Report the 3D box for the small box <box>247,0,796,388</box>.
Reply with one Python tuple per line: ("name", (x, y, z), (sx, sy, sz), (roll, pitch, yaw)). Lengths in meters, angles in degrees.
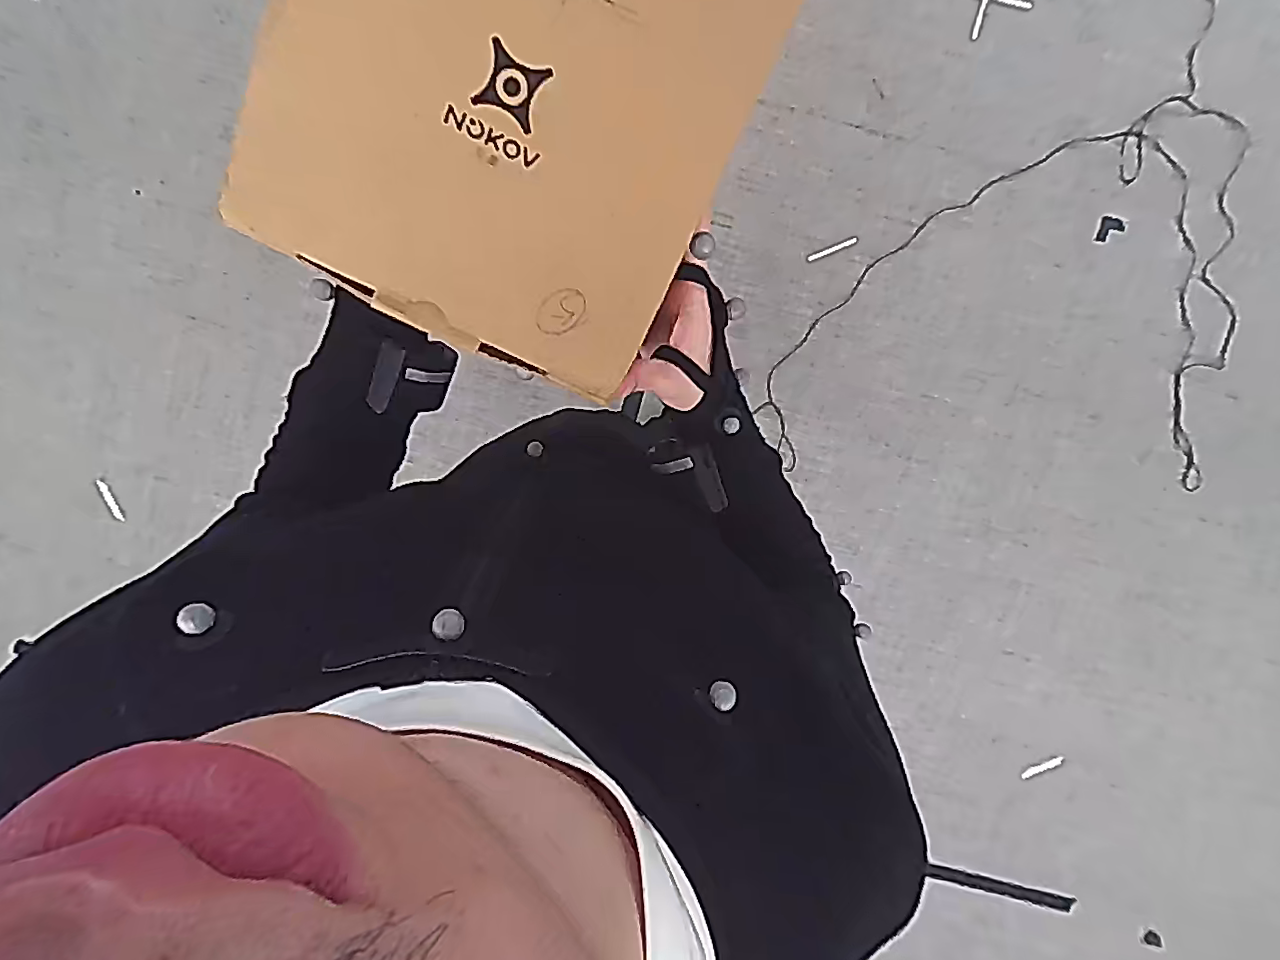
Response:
("small box", (-0.053, -0.169, 0.287), (0.168, 0.176, 0.179), (24, 102, -11))
